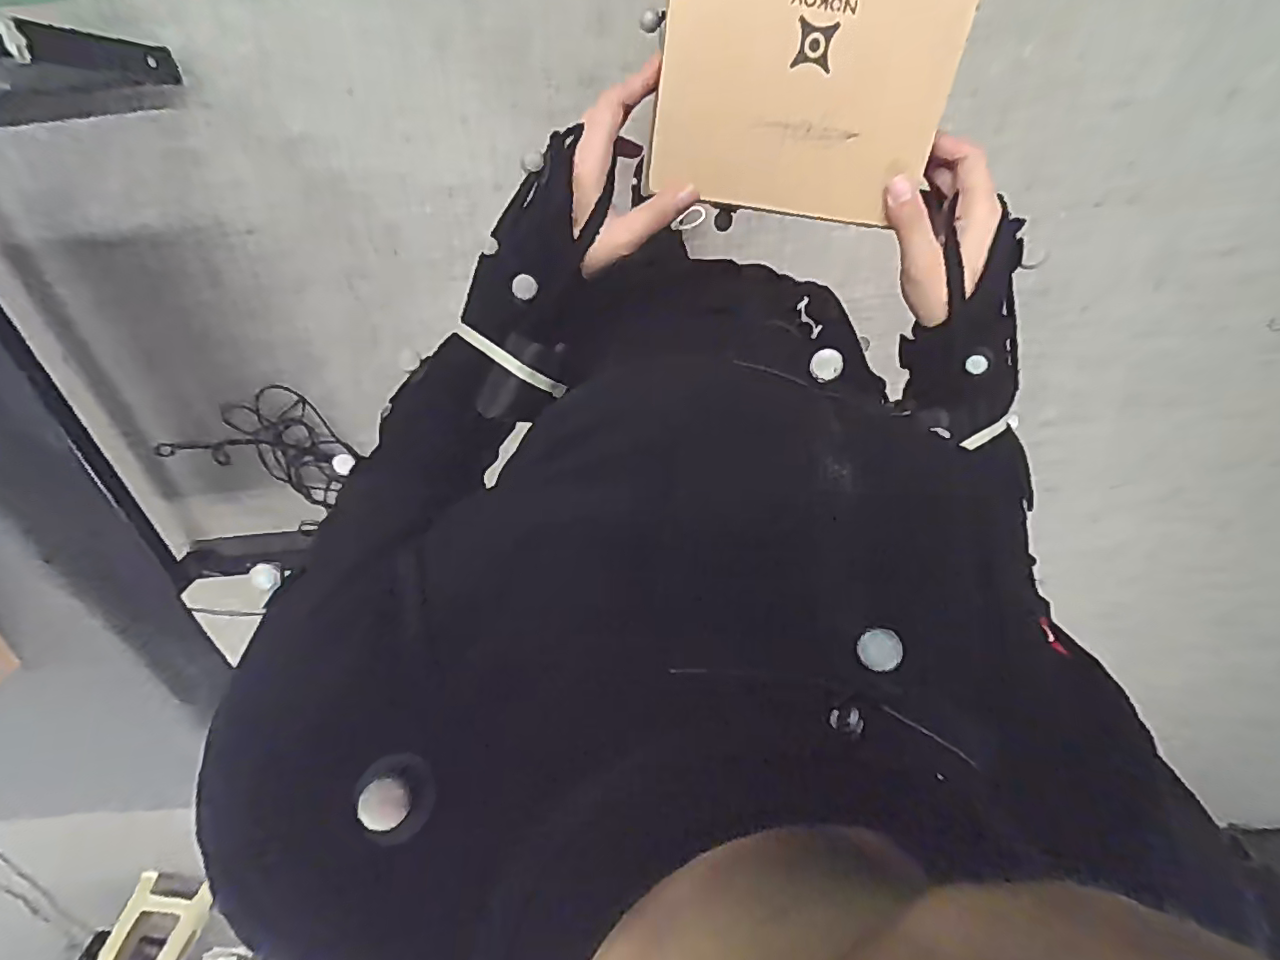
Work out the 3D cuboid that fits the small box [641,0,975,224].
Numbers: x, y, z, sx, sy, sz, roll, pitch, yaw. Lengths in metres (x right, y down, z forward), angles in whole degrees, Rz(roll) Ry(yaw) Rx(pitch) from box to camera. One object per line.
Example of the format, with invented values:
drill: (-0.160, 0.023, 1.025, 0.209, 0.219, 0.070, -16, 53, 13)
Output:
small box: (0.093, -0.282, 0.364, 0.168, 0.176, 0.179, 6, 118, -5)
